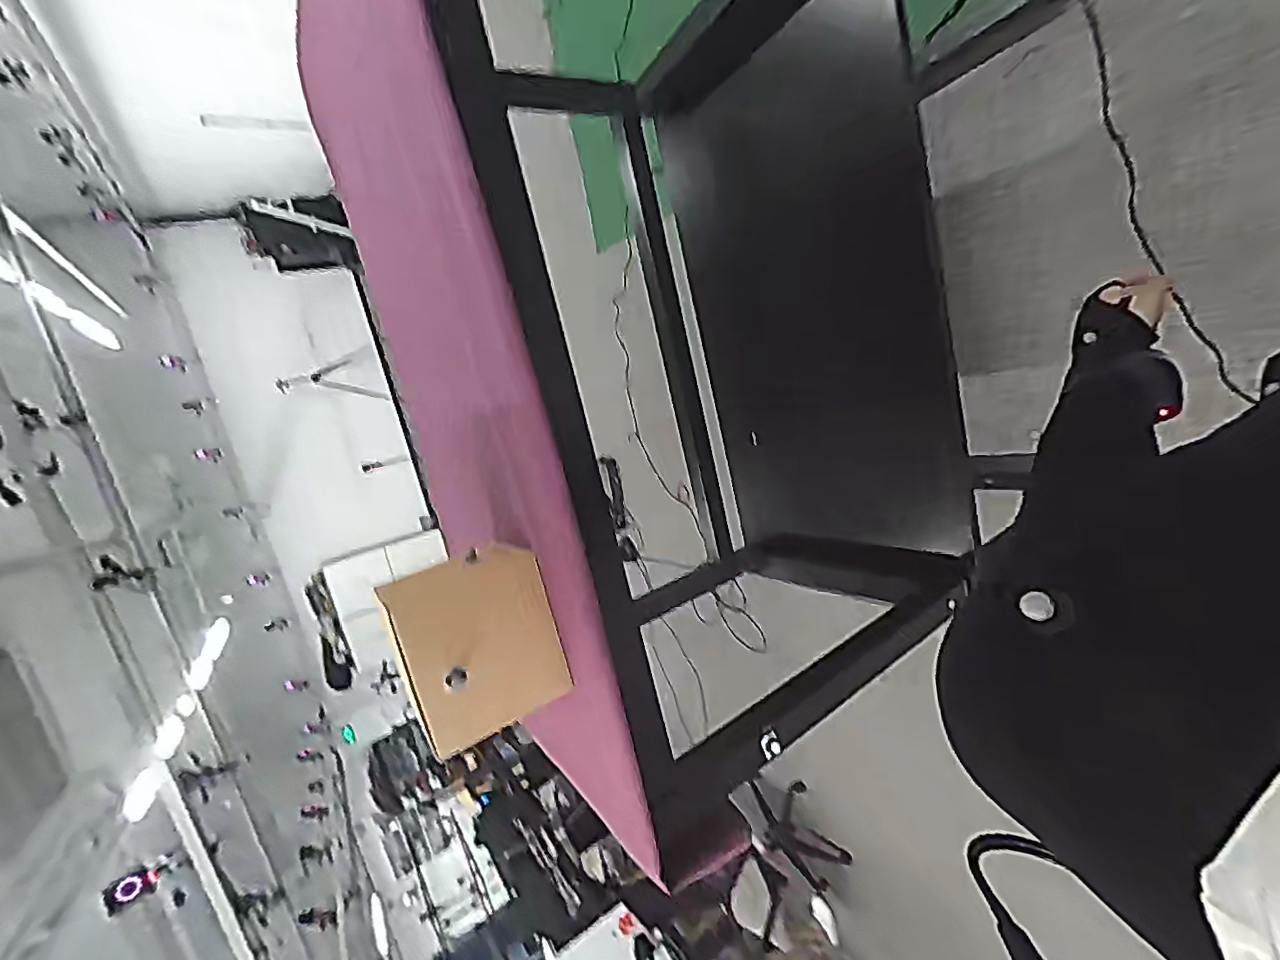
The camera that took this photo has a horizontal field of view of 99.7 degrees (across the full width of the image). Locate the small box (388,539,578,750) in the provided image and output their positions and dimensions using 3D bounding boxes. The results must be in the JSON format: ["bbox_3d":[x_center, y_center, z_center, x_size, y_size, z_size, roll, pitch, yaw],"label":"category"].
[{"bbox_3d":[-0.196,0.189,0.680,0.168,0.176,0.179,-3,104,59],"label":"small box"}]
